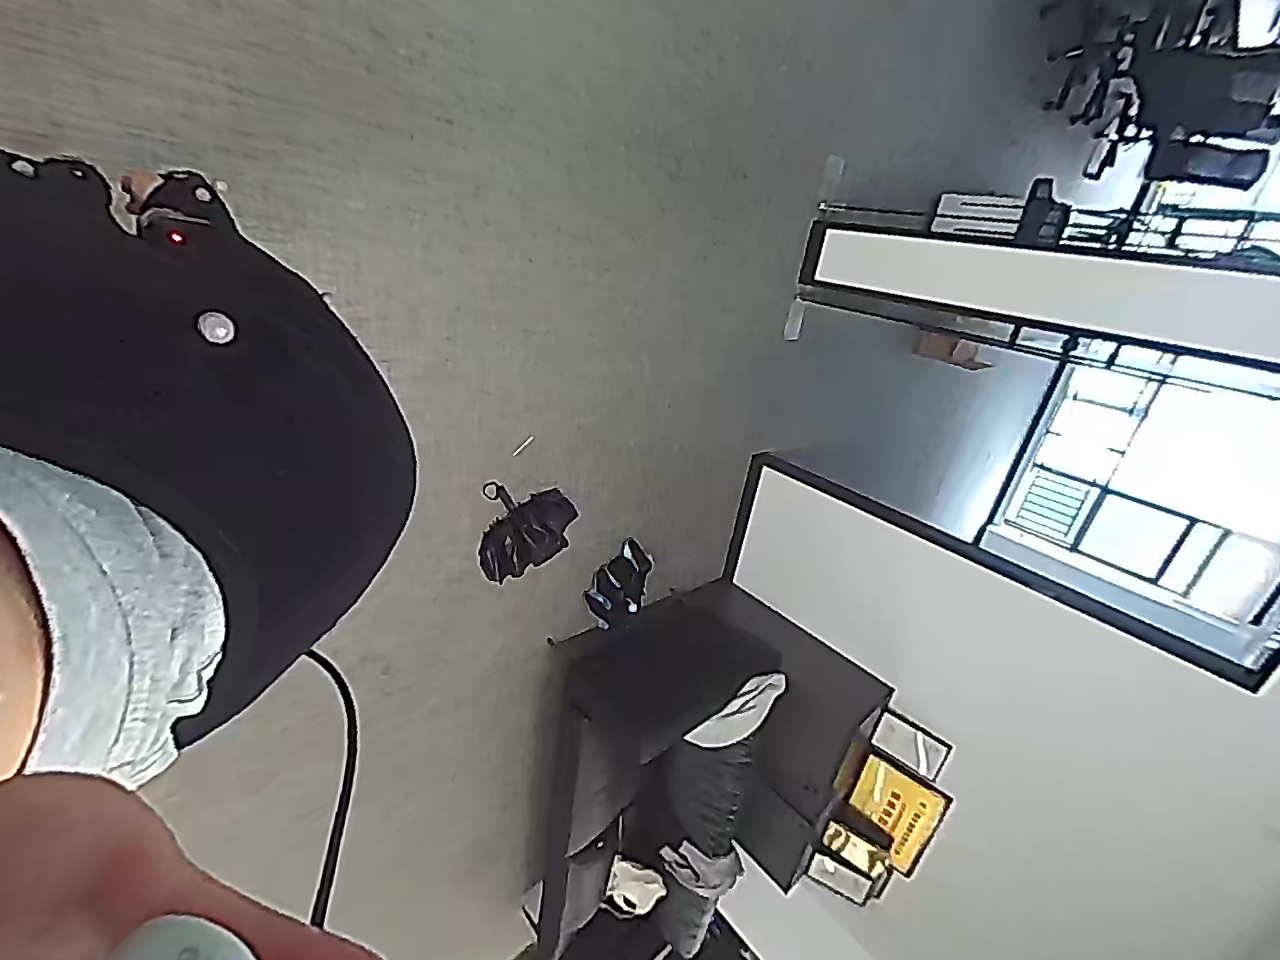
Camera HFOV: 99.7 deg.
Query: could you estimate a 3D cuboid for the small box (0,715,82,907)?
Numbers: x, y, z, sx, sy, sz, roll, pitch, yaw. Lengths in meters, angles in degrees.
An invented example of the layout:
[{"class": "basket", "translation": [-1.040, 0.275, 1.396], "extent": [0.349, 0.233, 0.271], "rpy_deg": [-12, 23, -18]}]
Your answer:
[{"class": "small box", "translation": [-0.907, 0.469, 0.744], "extent": [0.168, 0.176, 0.179], "rpy_deg": [-16, 125, -39]}]
